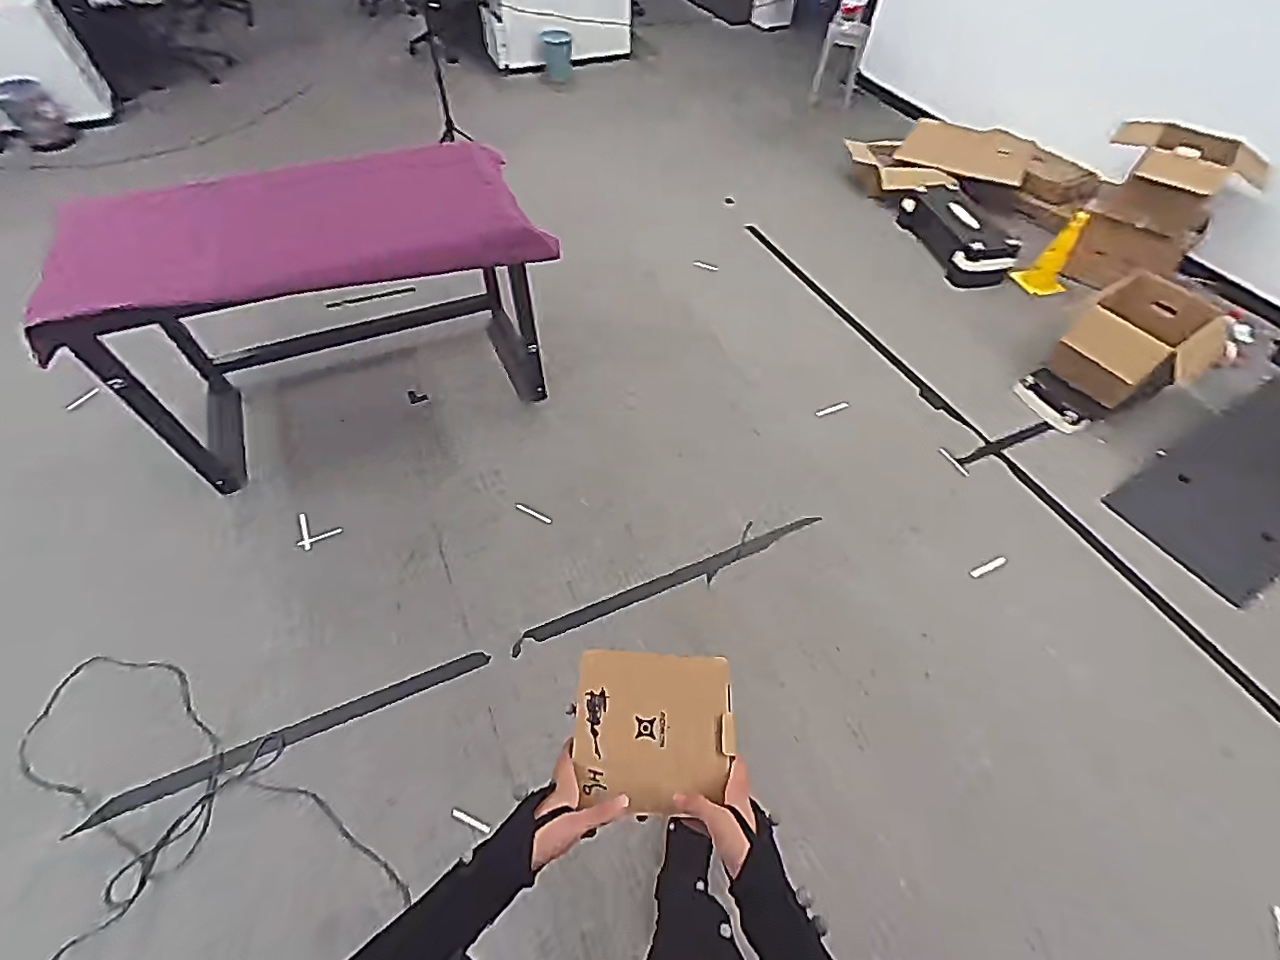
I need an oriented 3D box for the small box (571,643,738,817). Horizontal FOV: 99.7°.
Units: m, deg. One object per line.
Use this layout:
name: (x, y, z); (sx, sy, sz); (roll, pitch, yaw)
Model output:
small box: (0.014, 0.301, 0.659); (0.179, 0.176, 0.168); (4, 63, -2)
